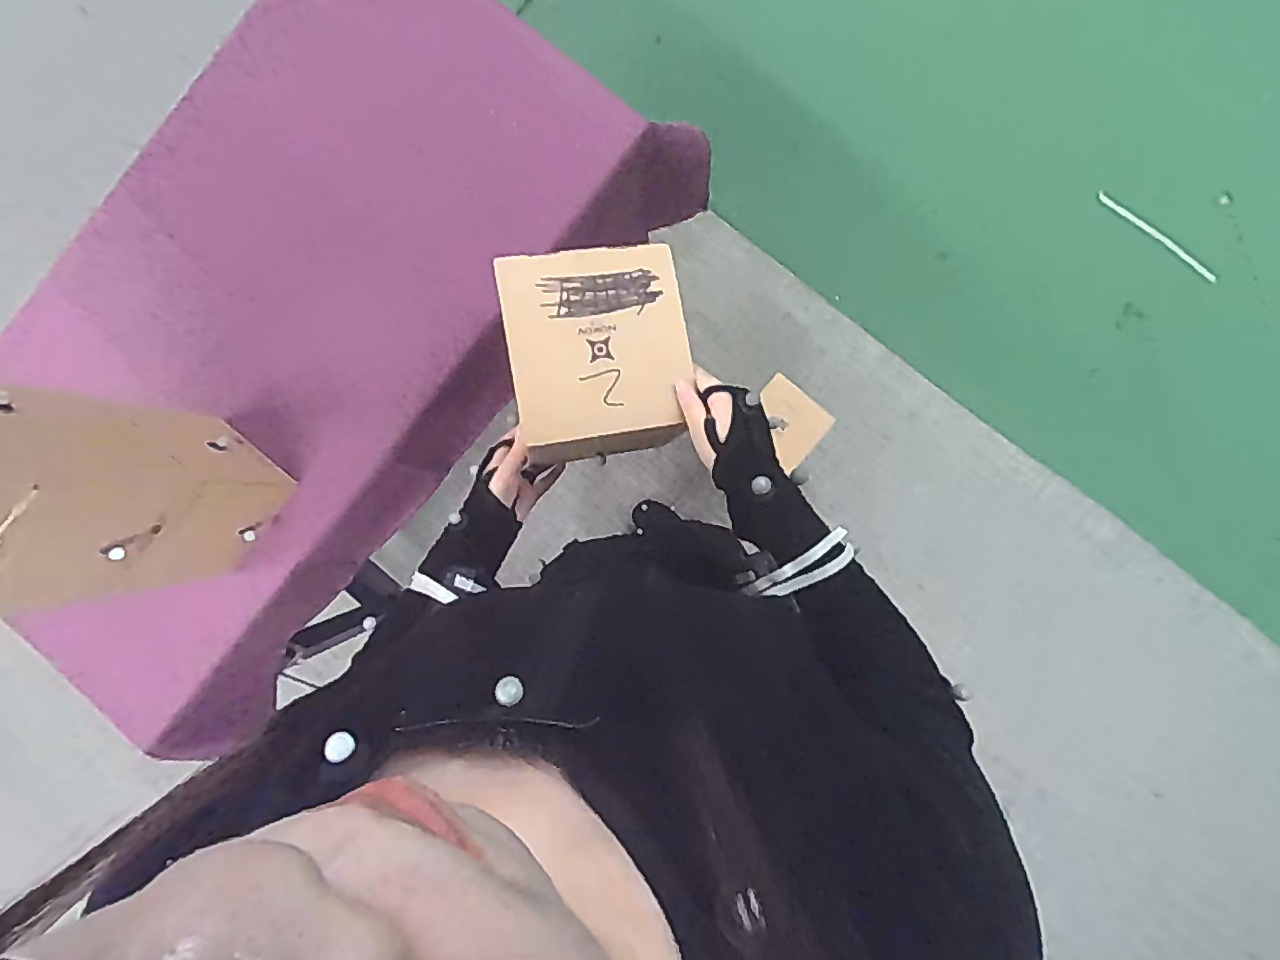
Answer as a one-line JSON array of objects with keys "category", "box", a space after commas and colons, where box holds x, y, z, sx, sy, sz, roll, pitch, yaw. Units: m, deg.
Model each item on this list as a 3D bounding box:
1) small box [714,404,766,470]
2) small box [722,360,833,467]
[{"category": "small box", "box": [0.307, -0.140, 1.409, 0.168, 0.176, 0.179, 44, 92, 2]}, {"category": "small box", "box": [0.304, -0.144, 1.245, 0.168, 0.176, 0.179, 41, 91, 1]}]
